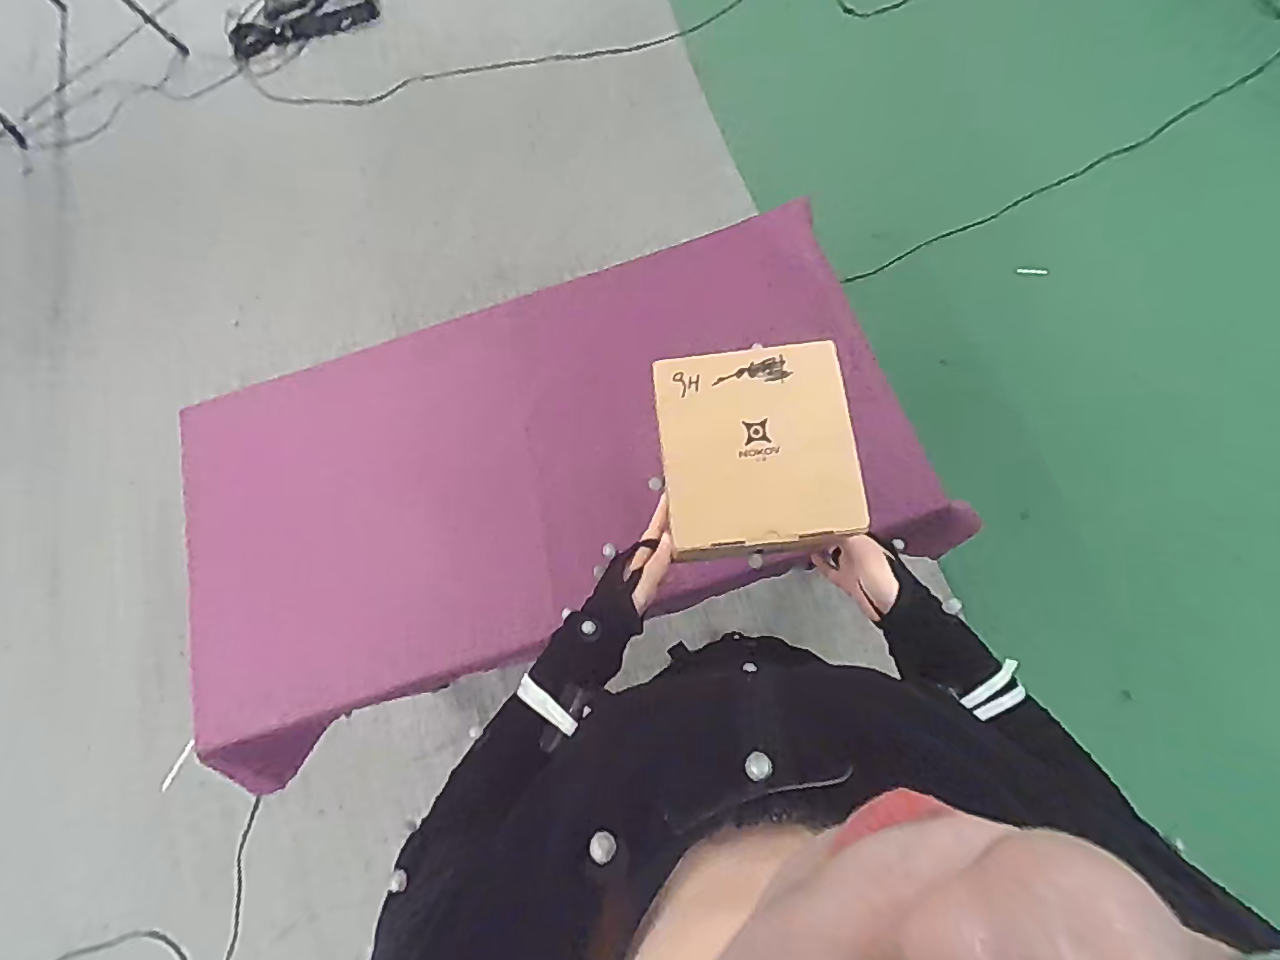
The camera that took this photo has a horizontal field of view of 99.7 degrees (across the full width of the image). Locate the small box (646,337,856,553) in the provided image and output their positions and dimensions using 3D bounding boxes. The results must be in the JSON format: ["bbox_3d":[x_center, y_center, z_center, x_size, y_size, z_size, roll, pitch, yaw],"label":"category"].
[{"bbox_3d":[0.099,-0.020,0.548,0.168,0.176,0.179,-6,77,3],"label":"small box"}]
